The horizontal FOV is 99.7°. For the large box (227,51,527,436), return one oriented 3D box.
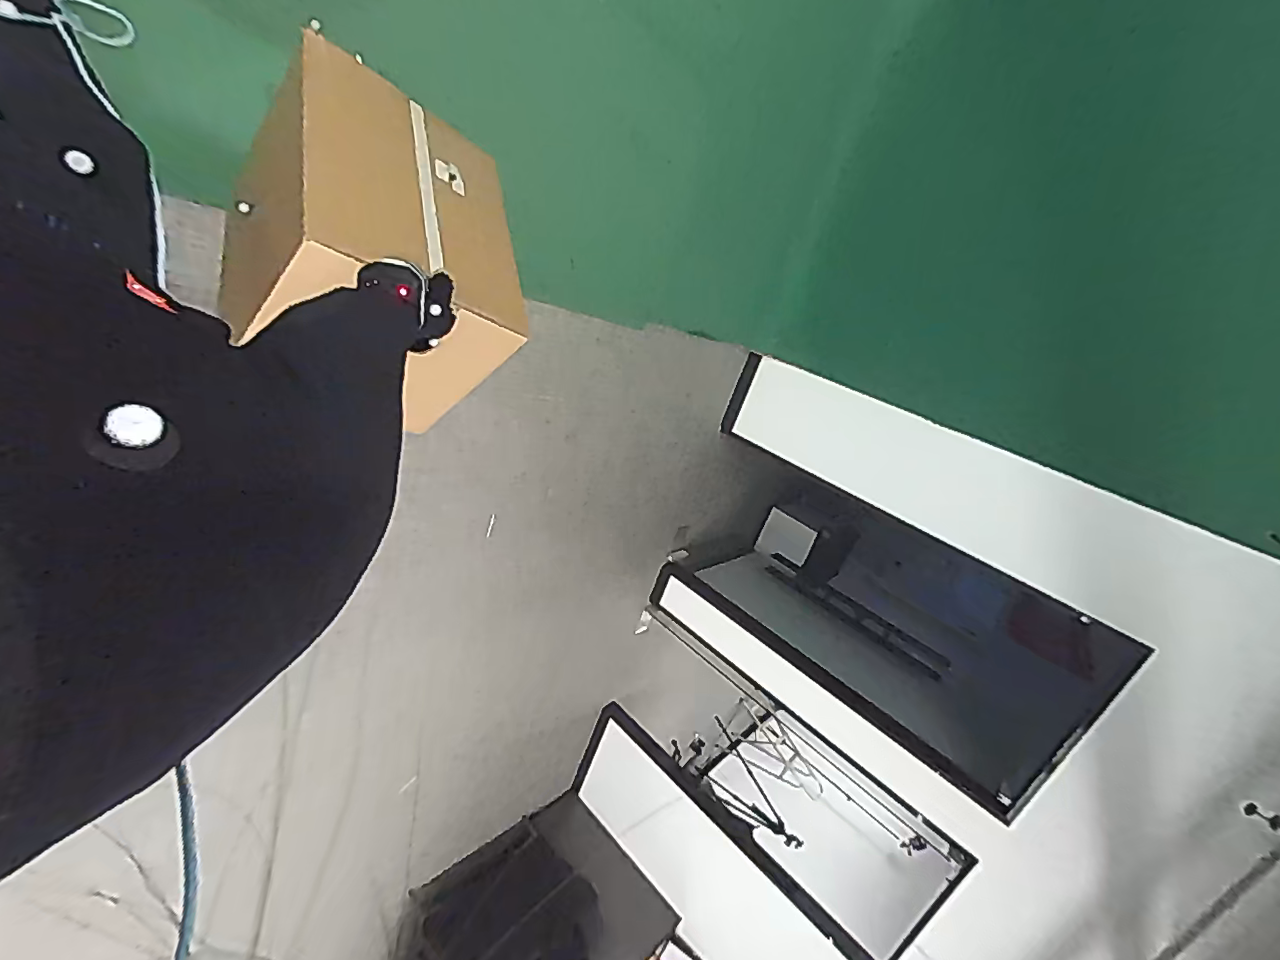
[{"bbox_3d":[-0.427,-0.333,0.865,0.320,0.408,0.320,-31,153,31],"label":"large box"}]
